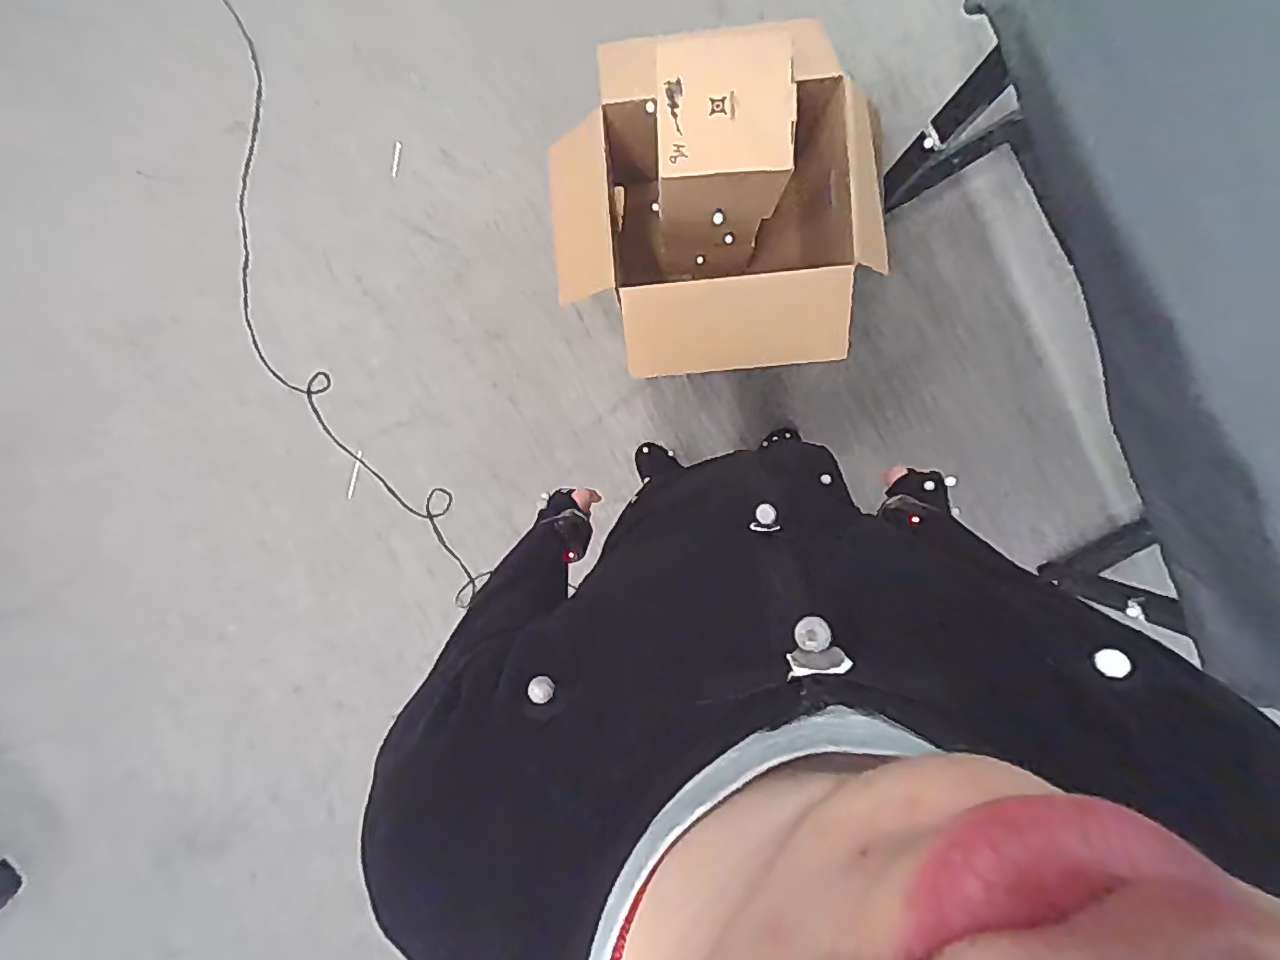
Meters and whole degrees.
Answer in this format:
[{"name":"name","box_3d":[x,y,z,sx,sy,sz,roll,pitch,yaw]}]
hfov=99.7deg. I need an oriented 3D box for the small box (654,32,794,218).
[{"name":"small box","box_3d":[0.109,-0.485,0.763,0.179,0.176,0.168,-1,96,2]}]
